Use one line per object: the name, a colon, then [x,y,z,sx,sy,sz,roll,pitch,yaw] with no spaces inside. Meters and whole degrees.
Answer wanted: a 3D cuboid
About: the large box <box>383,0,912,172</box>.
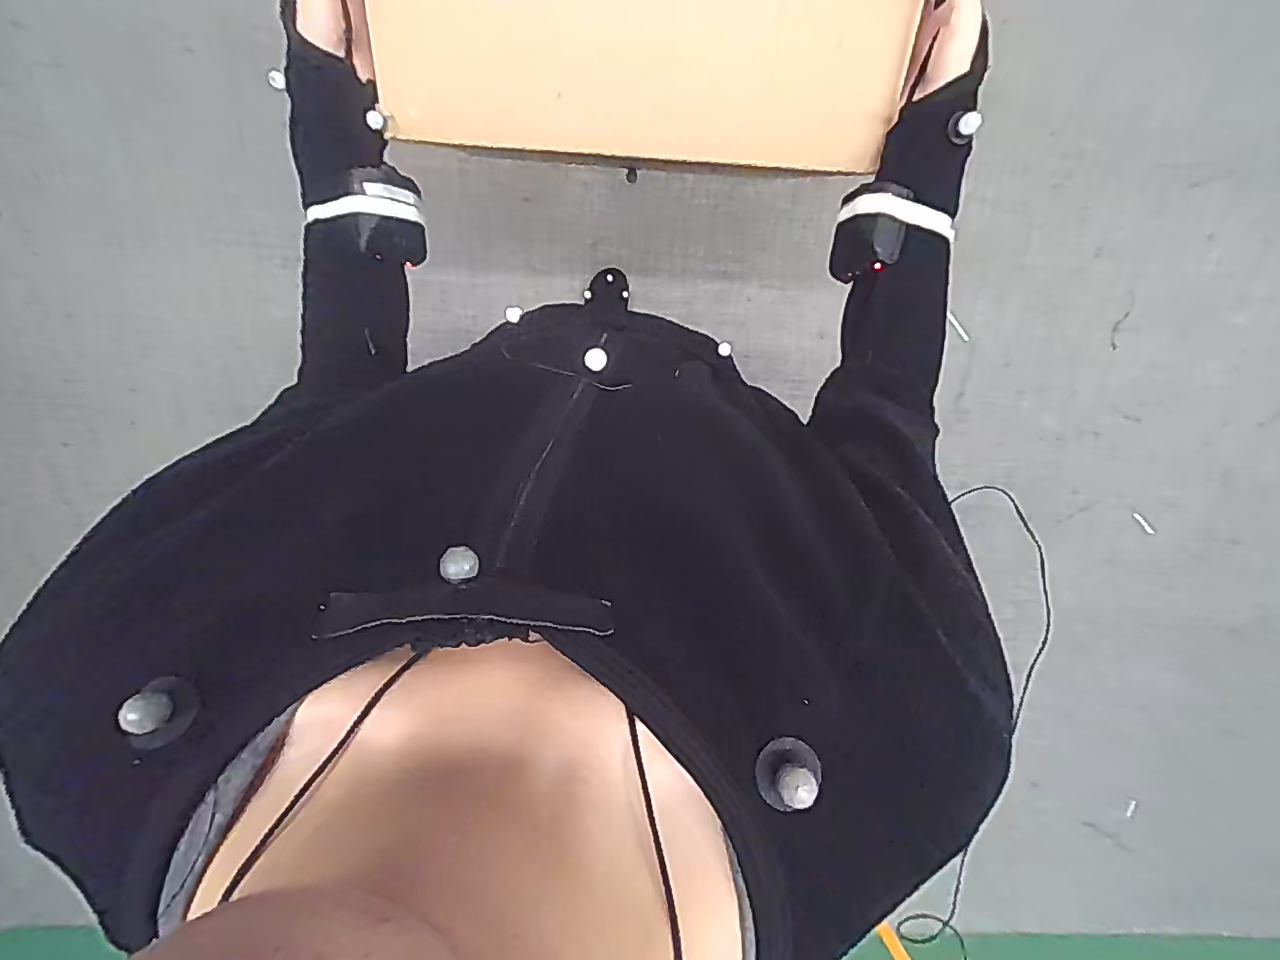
large box: [0.006,-0.476,0.507,0.408,0.320,0.320,2,118,-4]
